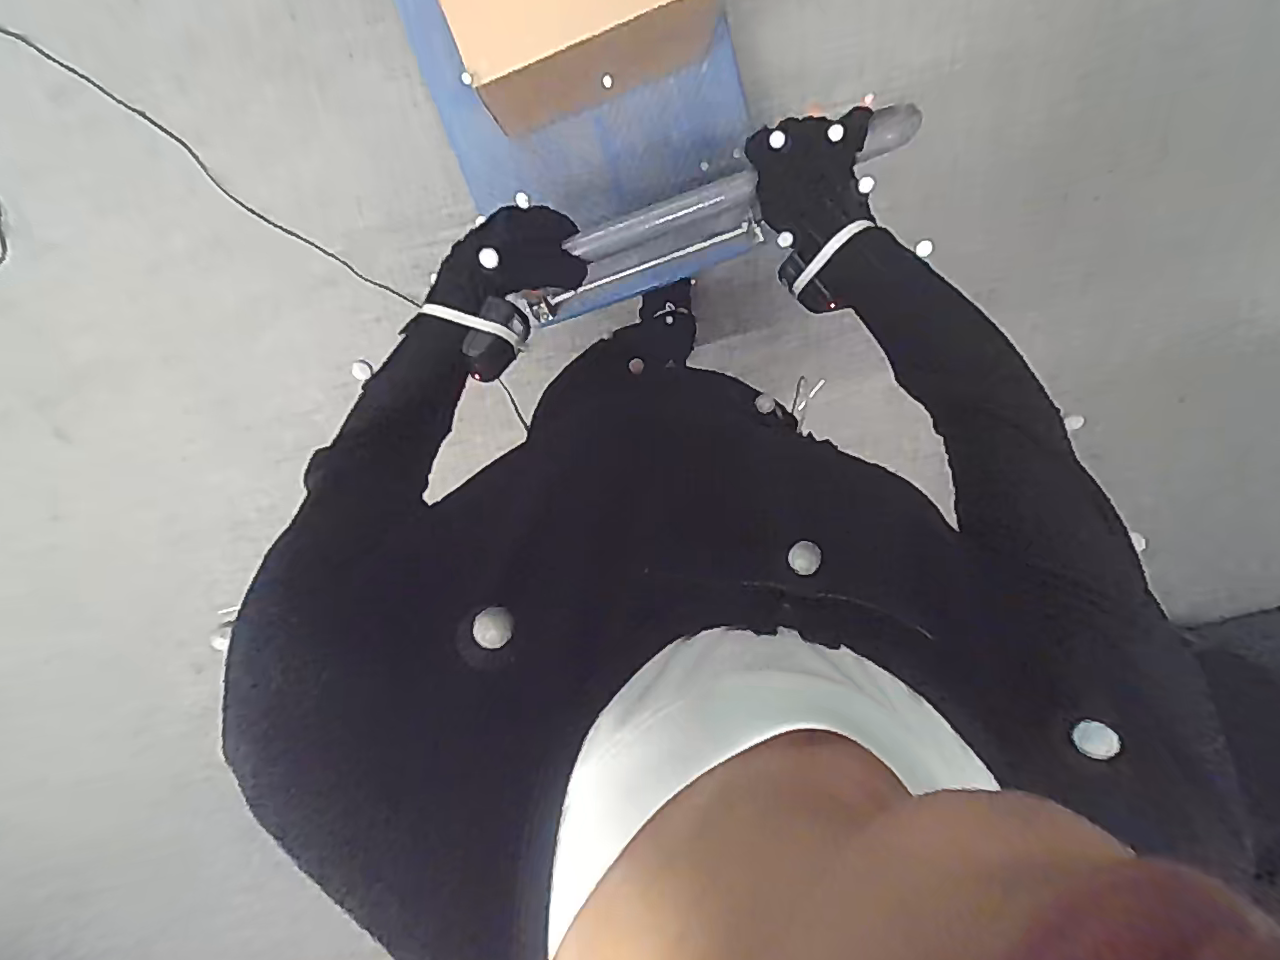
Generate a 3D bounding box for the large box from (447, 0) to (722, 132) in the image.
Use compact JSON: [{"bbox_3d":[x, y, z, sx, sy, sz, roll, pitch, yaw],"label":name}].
[{"bbox_3d":[-0.107,-0.834,0.865,0.408,0.320,0.320,-21,109,5],"label":"large box"}]
